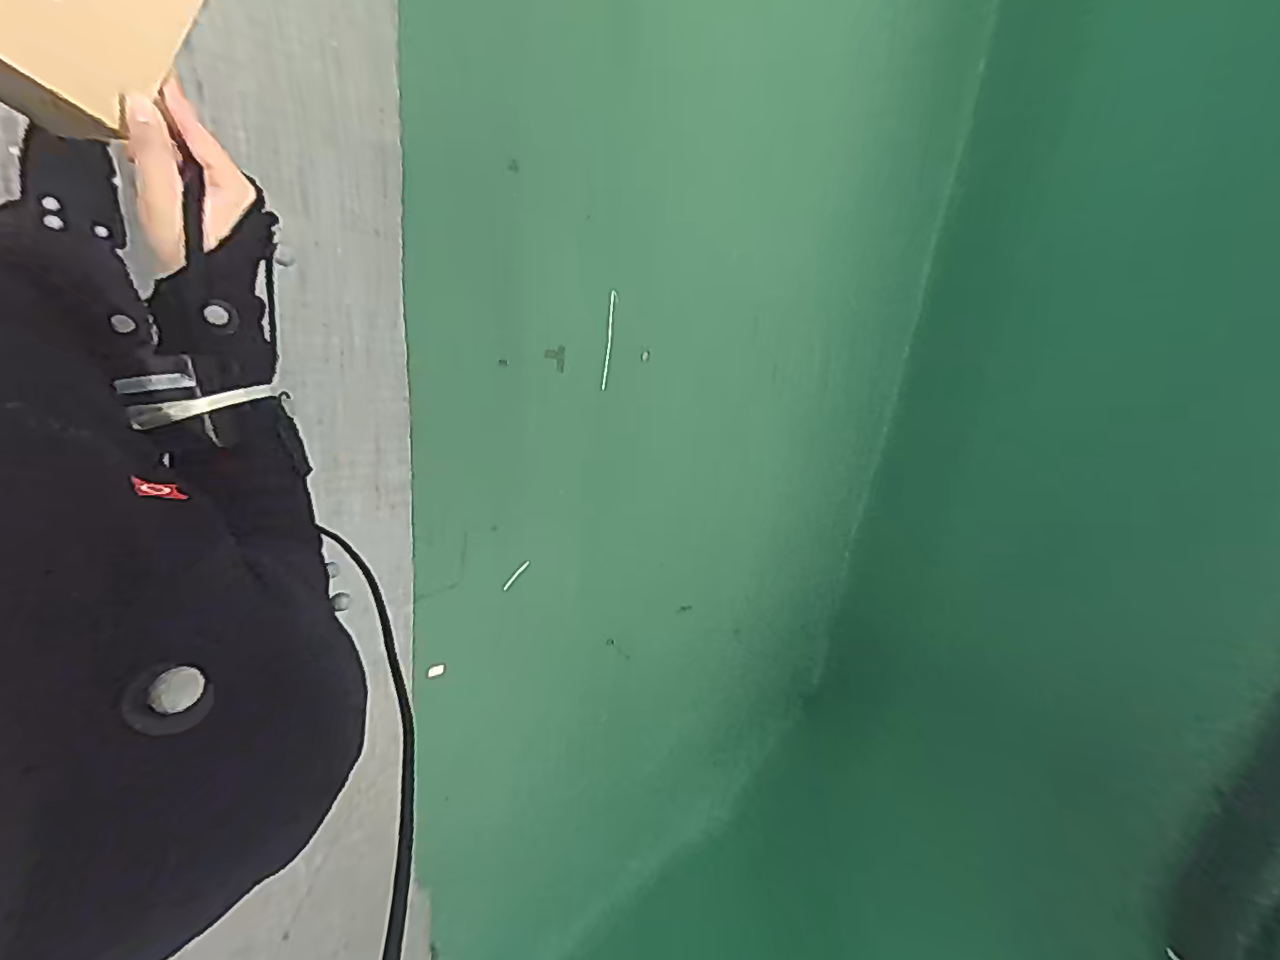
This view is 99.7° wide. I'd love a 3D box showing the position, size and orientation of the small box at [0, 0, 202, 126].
[{"bbox_3d":[-0.363,-0.333,0.293,0.168,0.176,0.179,28,86,-60],"label":"small box"}]
